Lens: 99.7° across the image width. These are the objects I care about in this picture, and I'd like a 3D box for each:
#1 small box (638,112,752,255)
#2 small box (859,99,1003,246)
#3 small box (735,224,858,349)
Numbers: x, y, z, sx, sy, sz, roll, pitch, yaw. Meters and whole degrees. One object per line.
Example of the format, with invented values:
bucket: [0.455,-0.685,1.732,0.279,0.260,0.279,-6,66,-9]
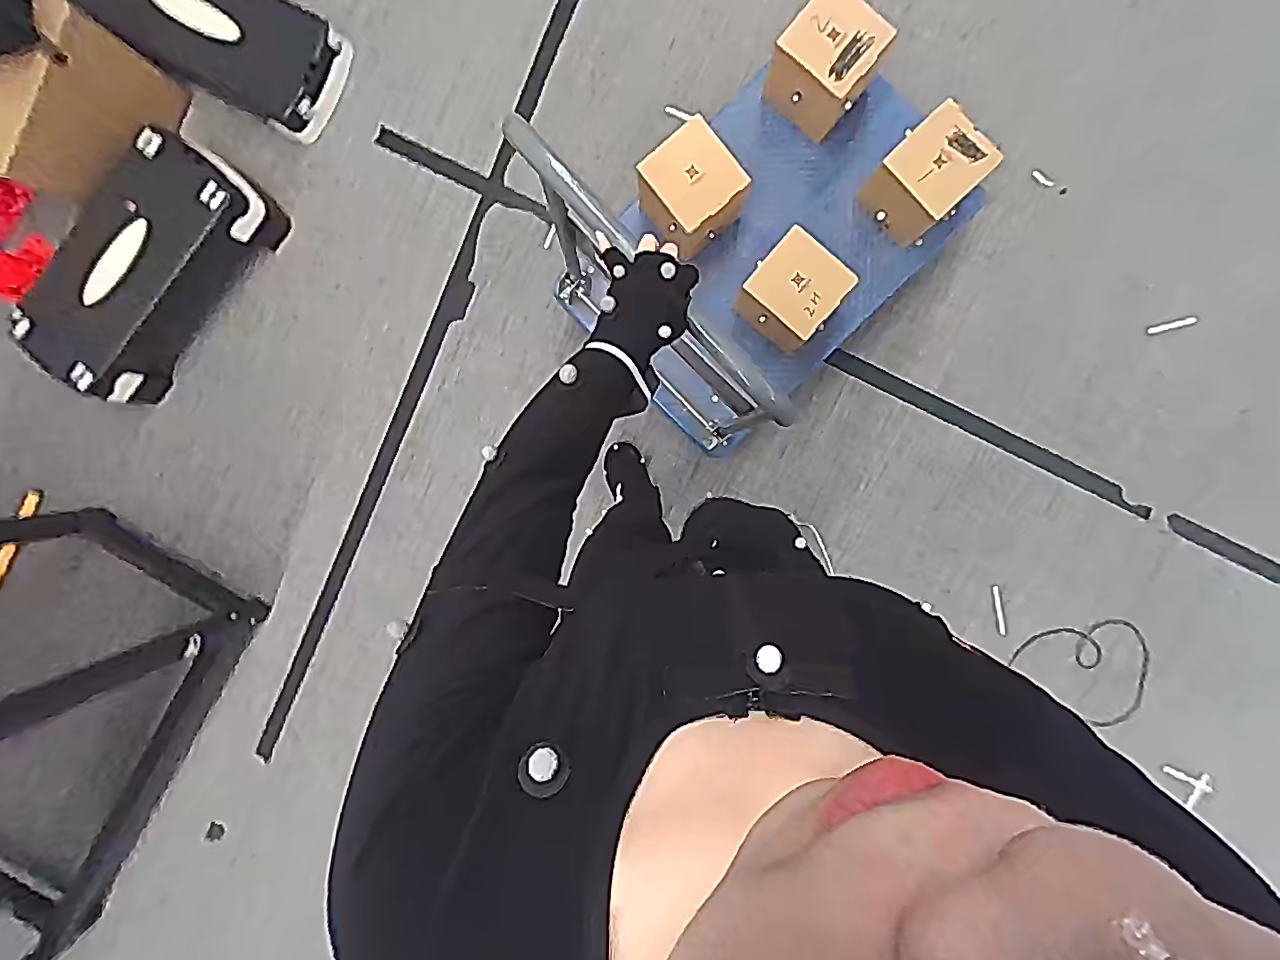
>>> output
small box: [0.112,-0.626,1.166,0.168,0.176,0.179,-40,92,4]
small box: [0.602,-0.638,1.147,0.179,0.176,0.168,-43,91,5]
small box: [0.326,-0.407,1.174,0.179,0.176,0.168,42,95,-1]
